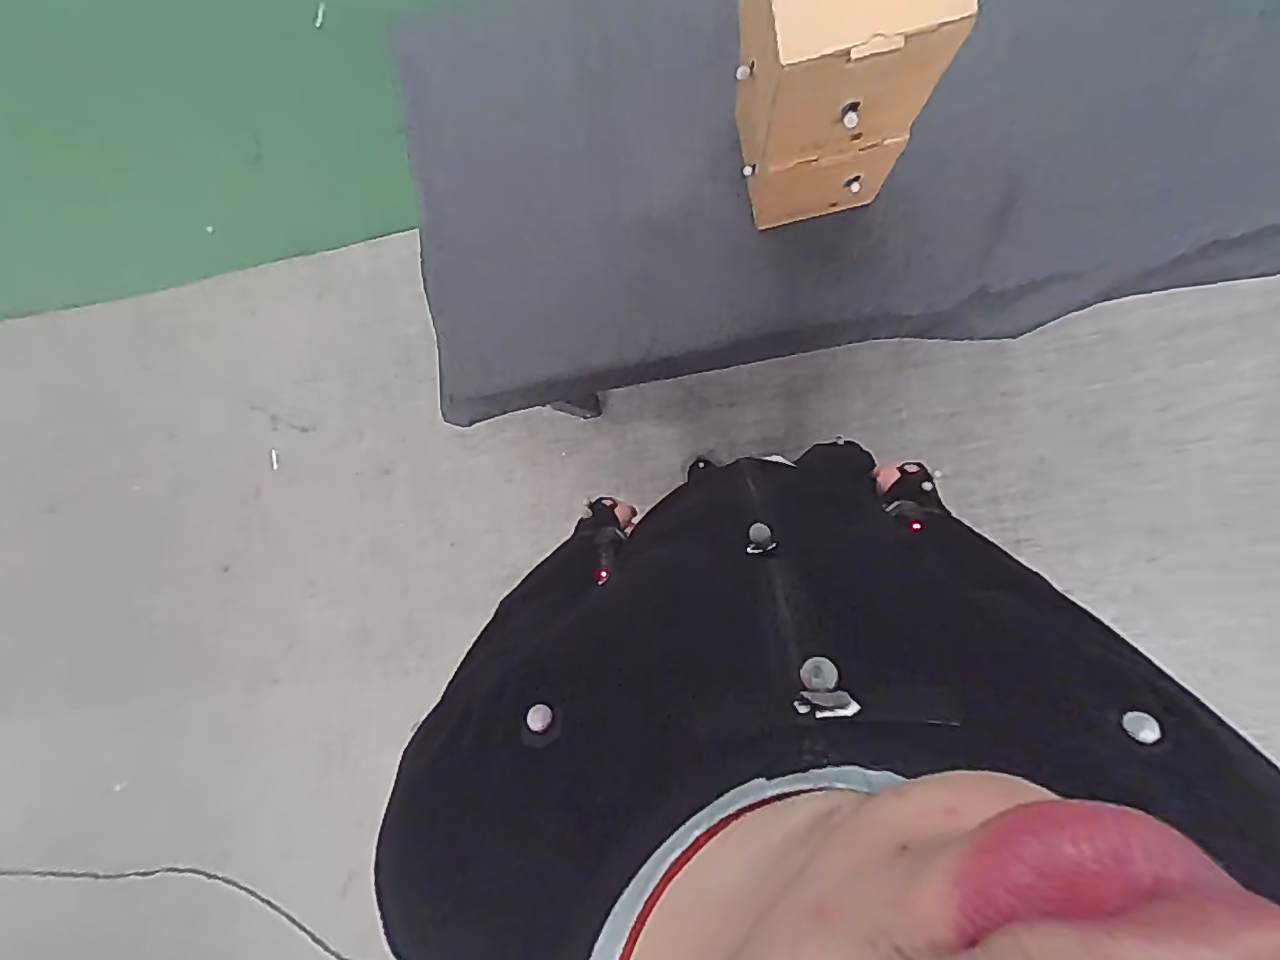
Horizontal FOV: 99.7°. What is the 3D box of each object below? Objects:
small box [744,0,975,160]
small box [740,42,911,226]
[{"bbox_3d":[0.203,-0.456,0.546,0.168,0.176,0.179,-9,92,7],"label":"small box"},{"bbox_3d":[0.229,-0.458,0.708,0.168,0.176,0.179,-11,90,7],"label":"small box"}]
